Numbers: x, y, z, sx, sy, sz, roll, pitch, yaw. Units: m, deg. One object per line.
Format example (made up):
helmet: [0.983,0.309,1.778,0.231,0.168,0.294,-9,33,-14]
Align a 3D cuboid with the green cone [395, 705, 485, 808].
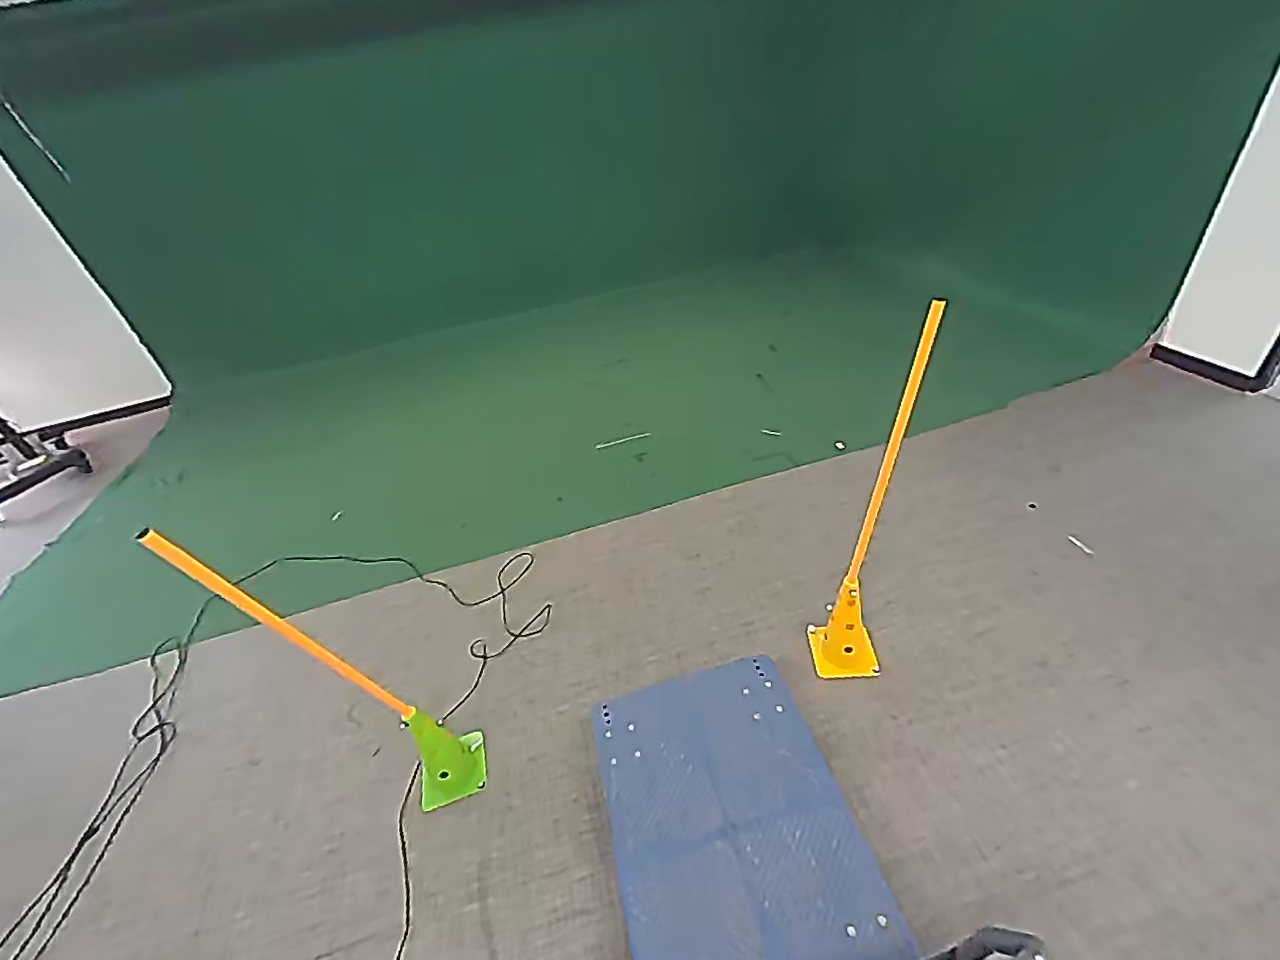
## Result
green cone: [-0.627,0.779,1.615,0.202,0.368,0.200,-19,38,-8]
